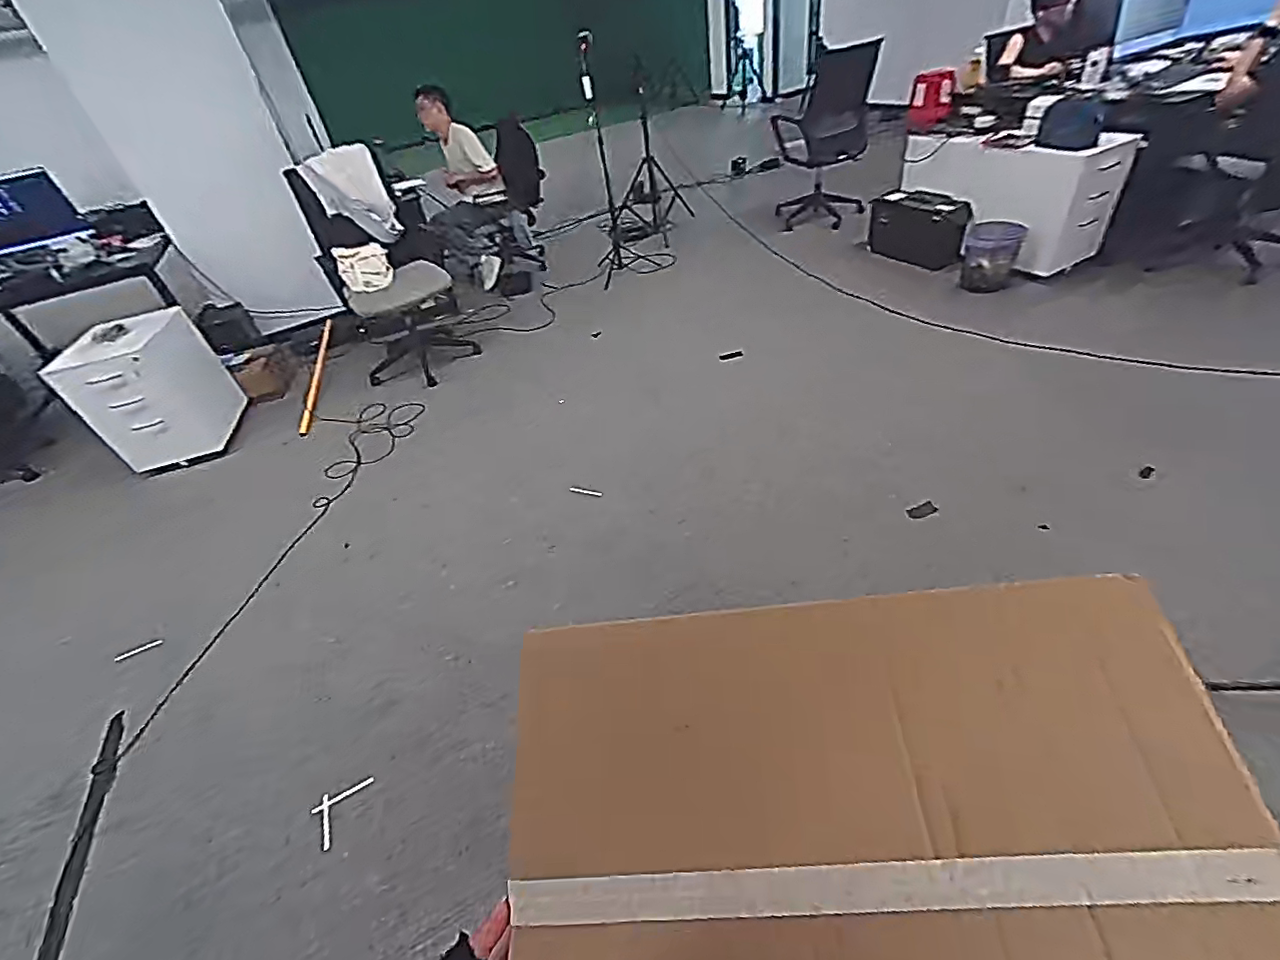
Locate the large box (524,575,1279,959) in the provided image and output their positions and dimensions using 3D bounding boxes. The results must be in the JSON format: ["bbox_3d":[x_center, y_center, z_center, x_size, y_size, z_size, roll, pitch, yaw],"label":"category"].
[{"bbox_3d":[0.151,0.292,0.428,0.408,0.320,0.320,-7,62,7],"label":"large box"}]
